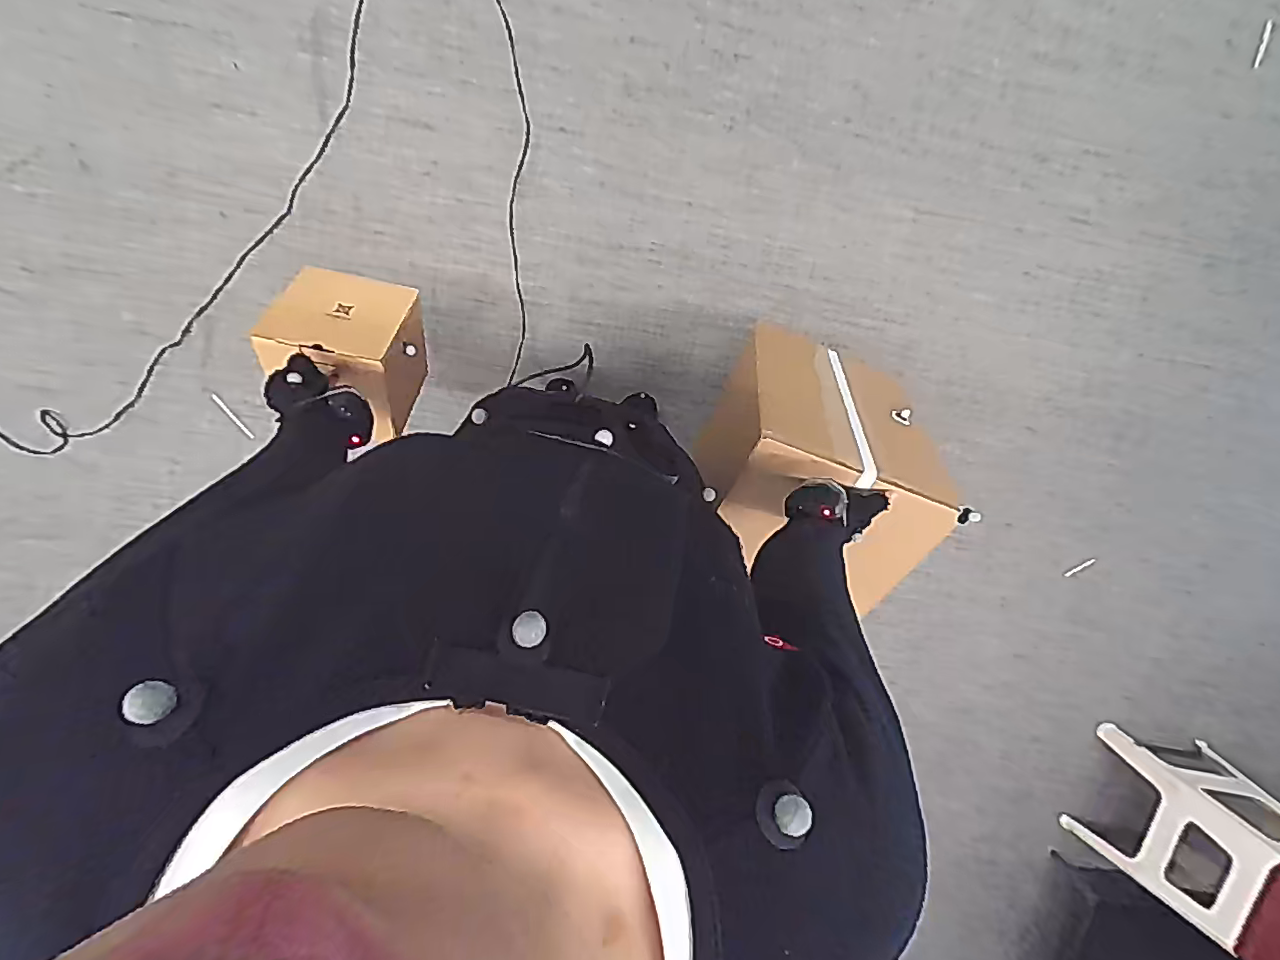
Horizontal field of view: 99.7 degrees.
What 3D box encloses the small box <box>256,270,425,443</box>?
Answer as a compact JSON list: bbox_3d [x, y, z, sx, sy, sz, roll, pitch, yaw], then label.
[{"bbox_3d":[-0.439,-0.186,0.830,0.168,0.179,0.176,10,141,-8],"label":"small box"}]
